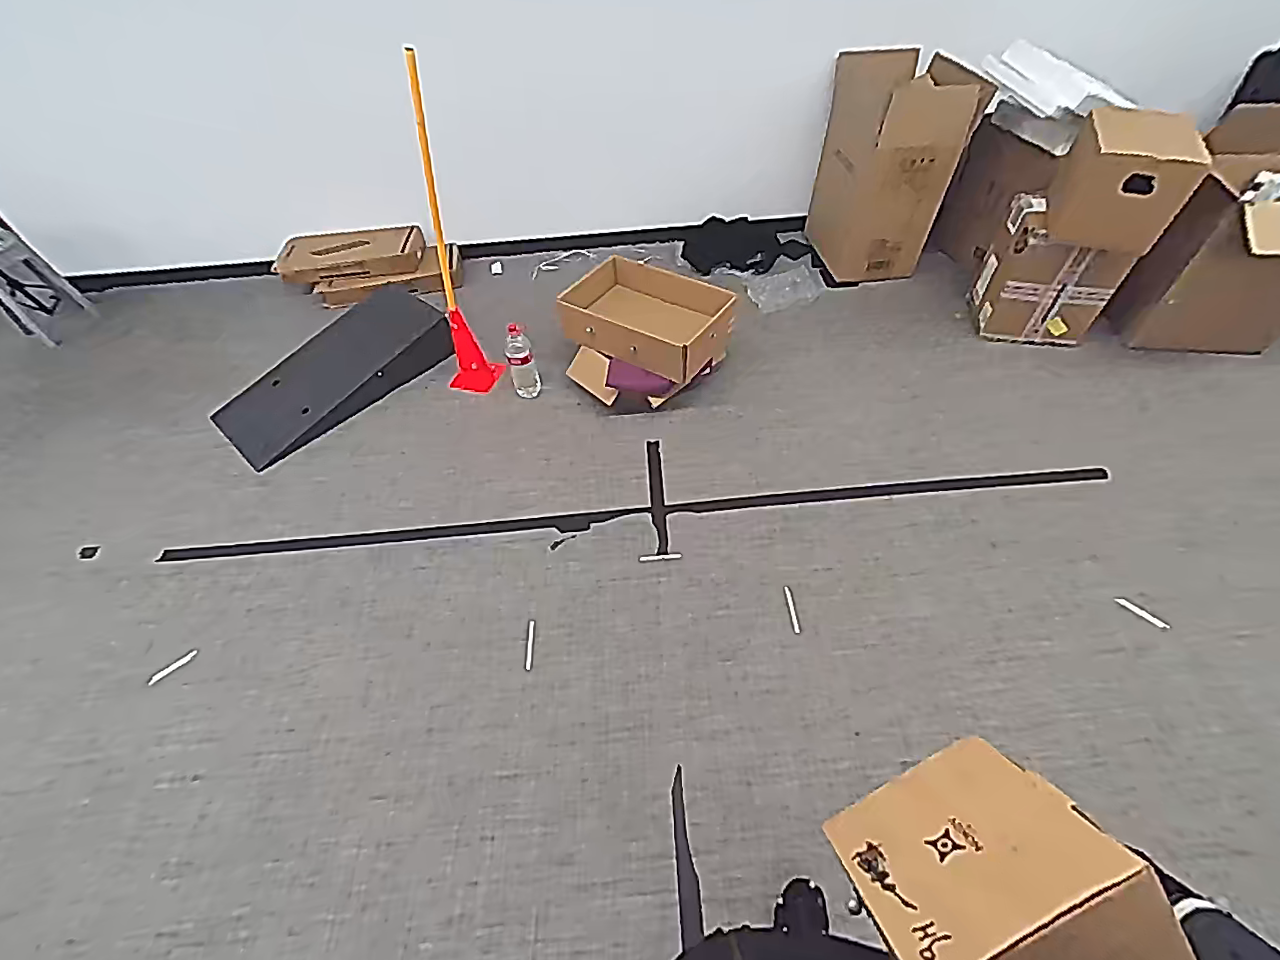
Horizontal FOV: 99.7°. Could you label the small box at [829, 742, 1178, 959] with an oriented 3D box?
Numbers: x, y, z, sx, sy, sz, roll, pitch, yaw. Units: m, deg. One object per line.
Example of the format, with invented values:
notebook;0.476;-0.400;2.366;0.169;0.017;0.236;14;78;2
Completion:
small box;0.298;0.370;0.451;0.179;0.168;0.176;-28;94;-2
